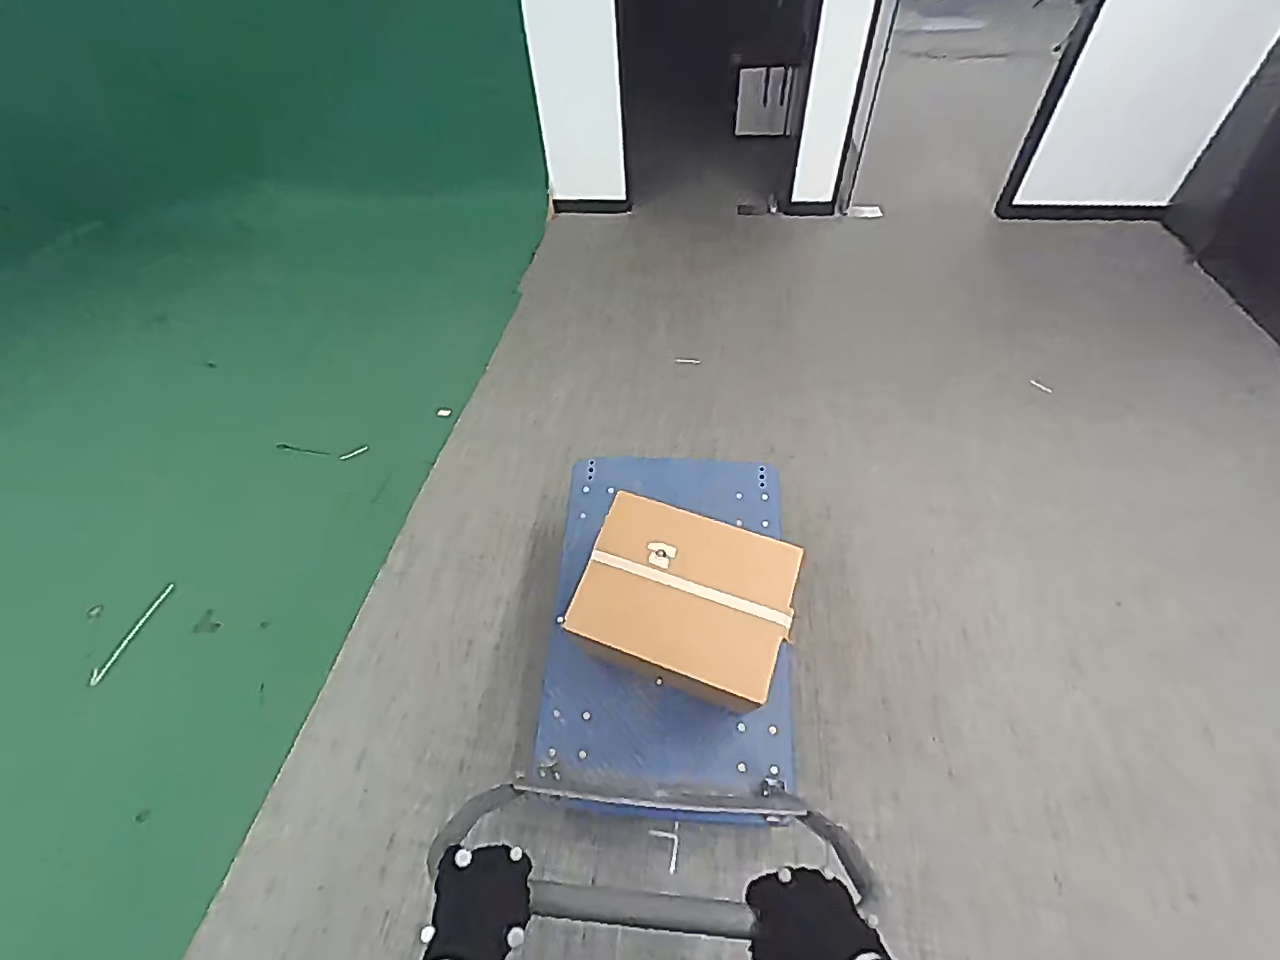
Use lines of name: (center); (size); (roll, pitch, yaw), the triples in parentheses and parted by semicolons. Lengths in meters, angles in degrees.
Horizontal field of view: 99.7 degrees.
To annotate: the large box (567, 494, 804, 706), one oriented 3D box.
large box: (0.108, 0.275, 1.195); (0.408, 0.320, 0.320); (16, 66, 13)
